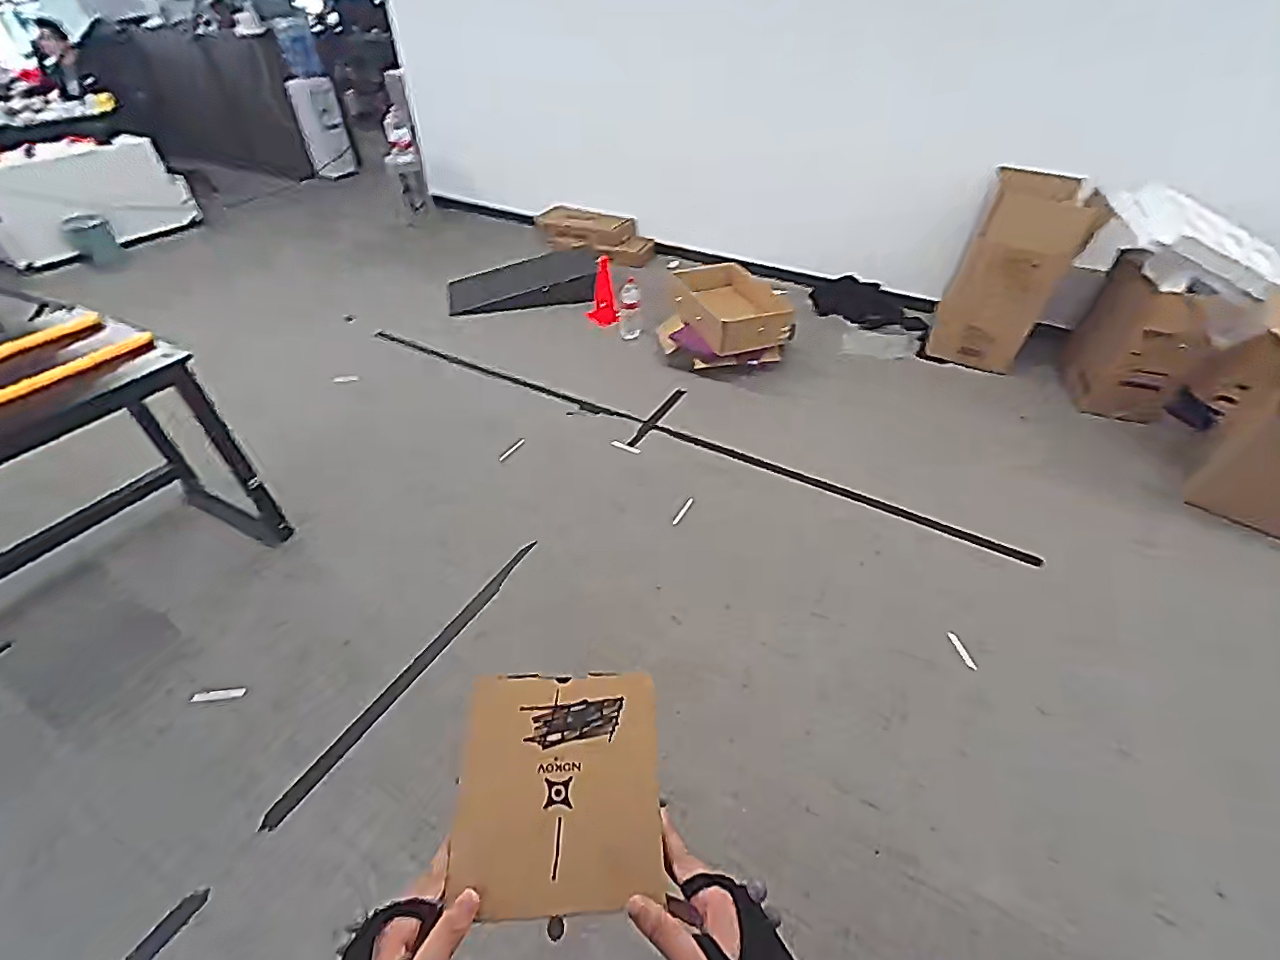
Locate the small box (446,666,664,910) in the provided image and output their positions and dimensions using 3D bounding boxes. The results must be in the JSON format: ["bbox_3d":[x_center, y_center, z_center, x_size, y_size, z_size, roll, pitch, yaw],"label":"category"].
[{"bbox_3d":[-0.072,0.295,0.517,0.168,0.176,0.179,-1,52,-5],"label":"small box"}]
